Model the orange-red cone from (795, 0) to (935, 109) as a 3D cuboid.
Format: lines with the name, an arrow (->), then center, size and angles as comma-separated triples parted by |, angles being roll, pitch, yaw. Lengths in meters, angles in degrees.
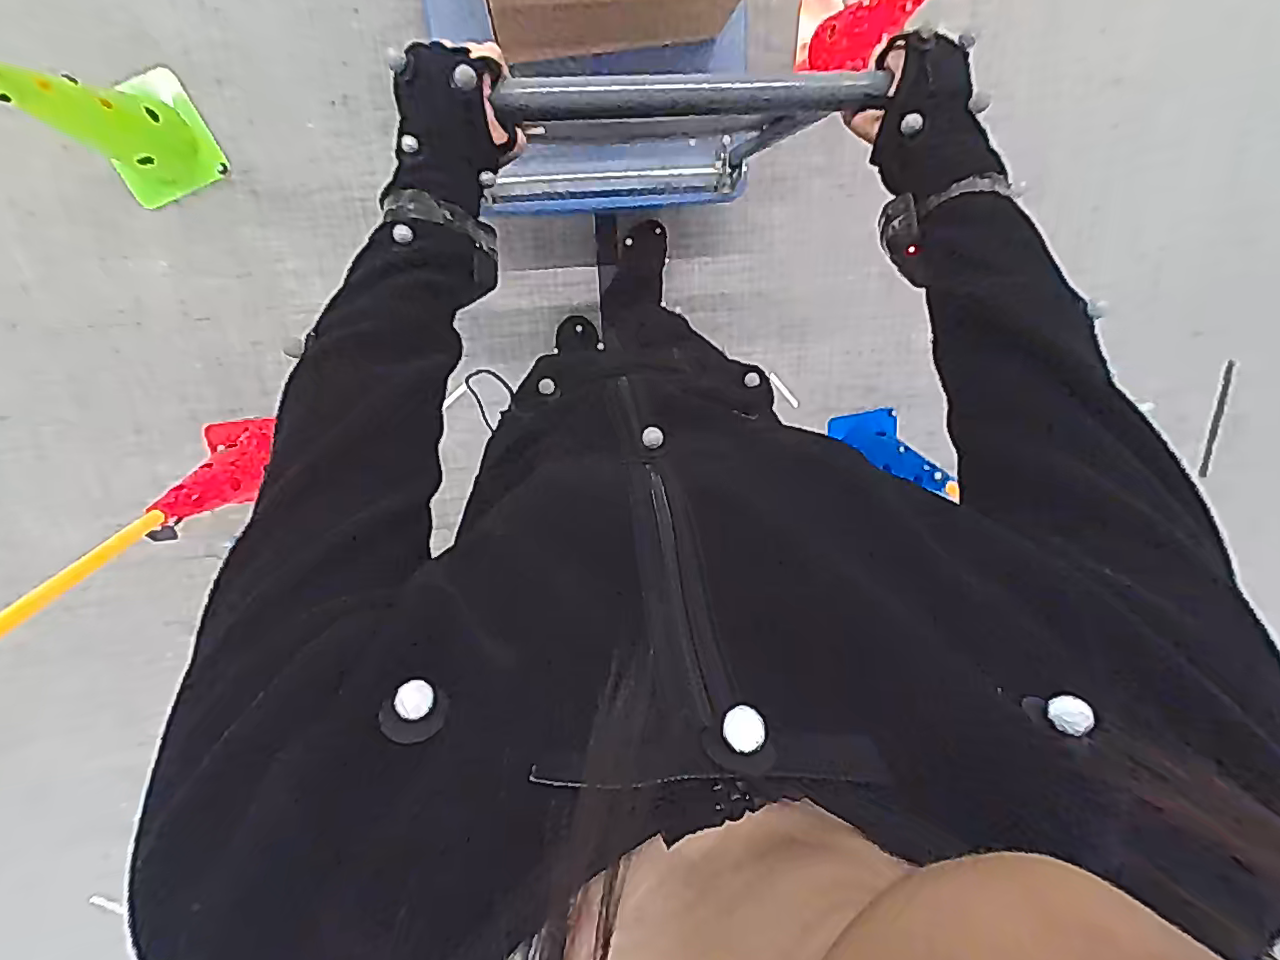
orange-red cone -> 0.473, -0.885, 1.030 | 0.199, 0.360, 0.198 | 0, 109, -10

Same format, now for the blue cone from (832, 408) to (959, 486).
blue cone -> 0.649, -0.049, 1.345 | 0.193, 0.380, 0.192 | -10, 108, -6
